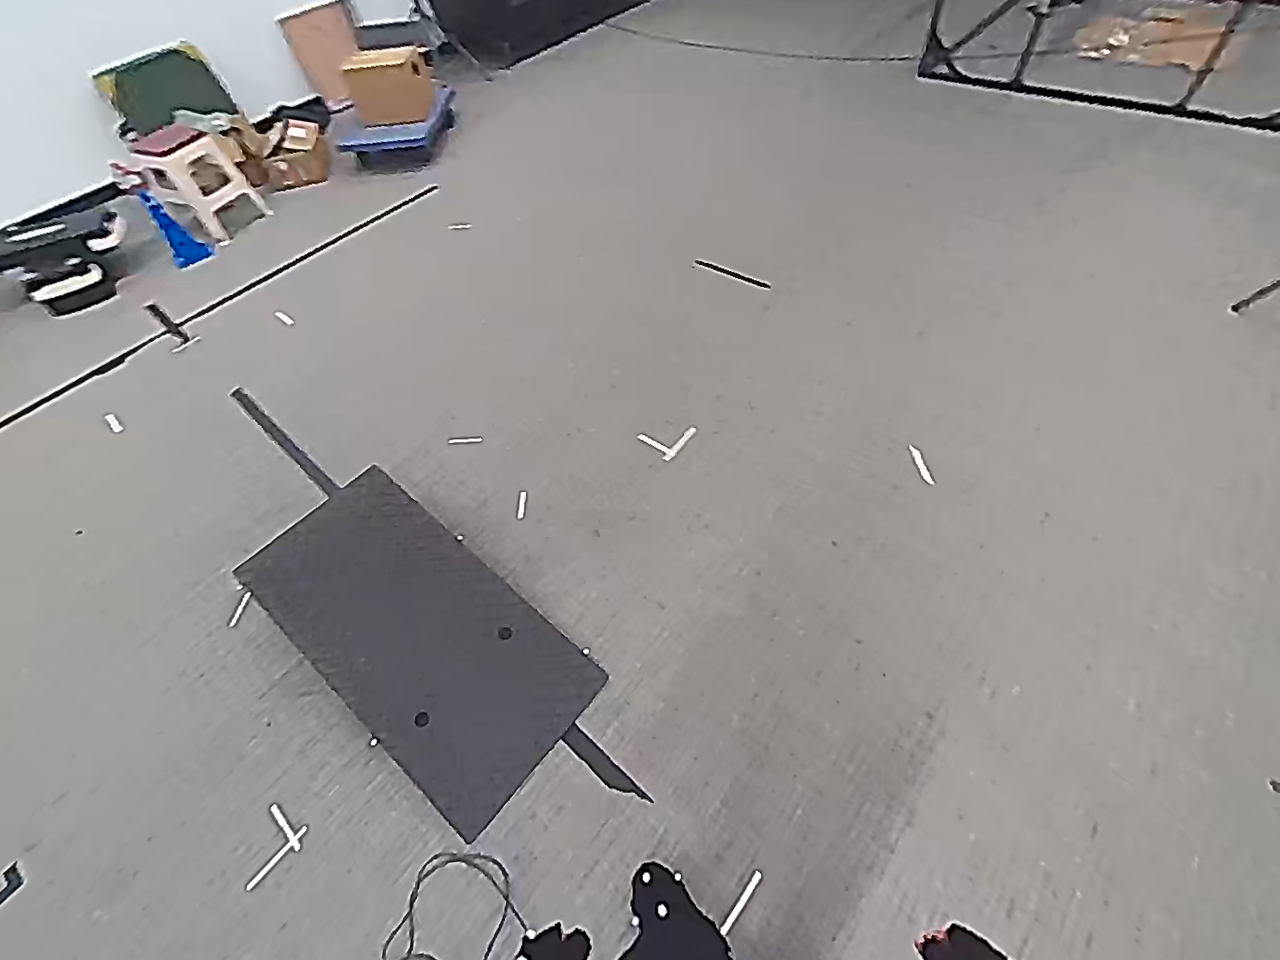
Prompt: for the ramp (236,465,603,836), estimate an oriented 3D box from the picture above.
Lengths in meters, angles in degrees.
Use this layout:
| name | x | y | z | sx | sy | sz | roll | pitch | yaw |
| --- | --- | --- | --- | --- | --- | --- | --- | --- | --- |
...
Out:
| name | x | y | z | sx | sy | sz | roll | pitch | yaw |
| --- | --- | --- | --- | --- | --- | --- | --- | --- | --- |
| ramp | -0.622 | 0.394 | 1.501 | 0.991 | 0.206 | 0.509 | 31 | 62 | 25 |
